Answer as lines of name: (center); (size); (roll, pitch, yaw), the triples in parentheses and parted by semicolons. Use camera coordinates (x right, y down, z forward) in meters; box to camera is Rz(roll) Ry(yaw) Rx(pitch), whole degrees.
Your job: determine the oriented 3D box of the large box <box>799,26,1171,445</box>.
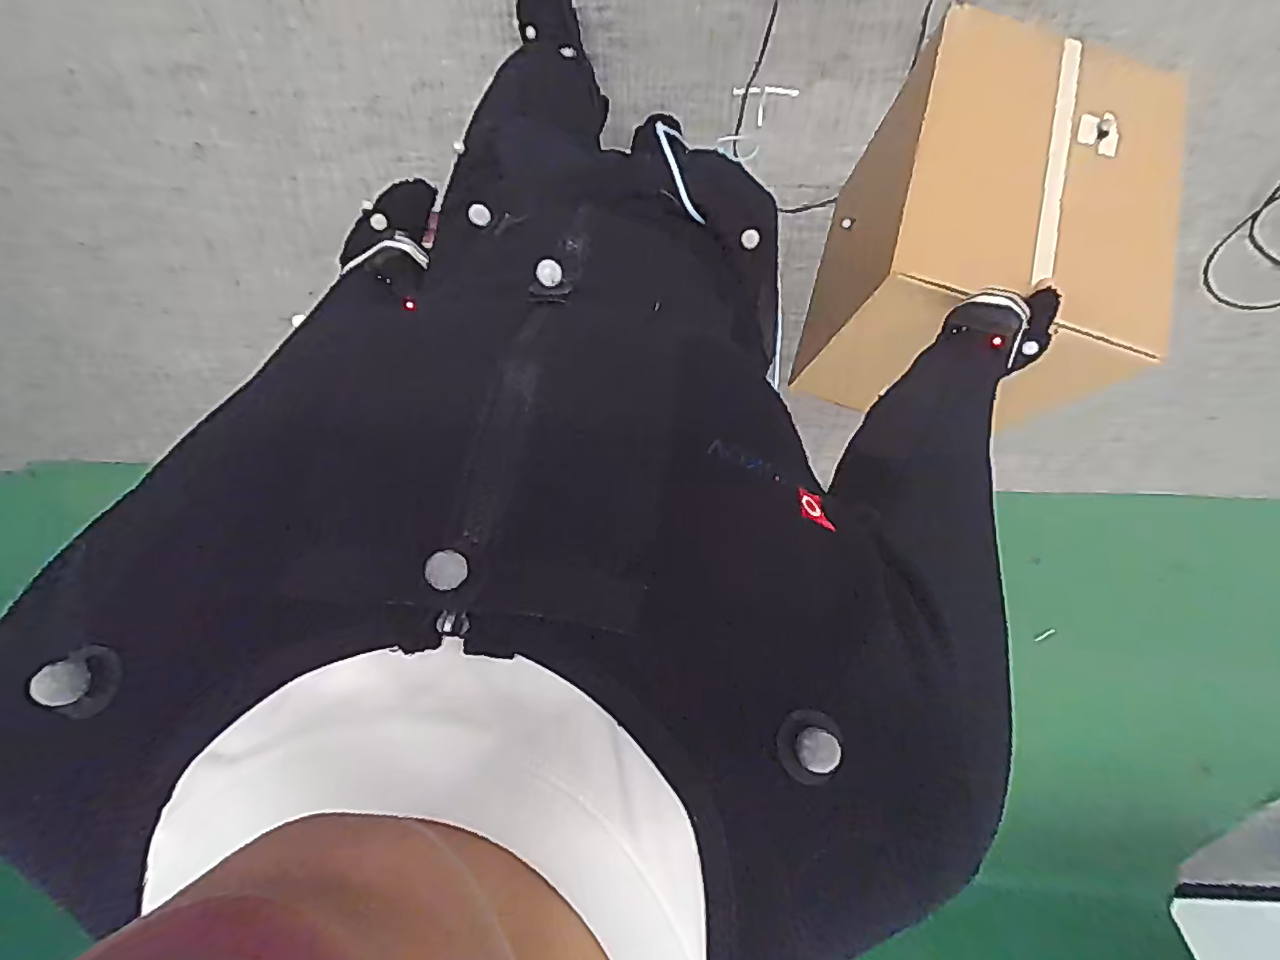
large box: (0.461, -0.311, 0.777); (0.320, 0.408, 0.320); (18, 165, -1)
